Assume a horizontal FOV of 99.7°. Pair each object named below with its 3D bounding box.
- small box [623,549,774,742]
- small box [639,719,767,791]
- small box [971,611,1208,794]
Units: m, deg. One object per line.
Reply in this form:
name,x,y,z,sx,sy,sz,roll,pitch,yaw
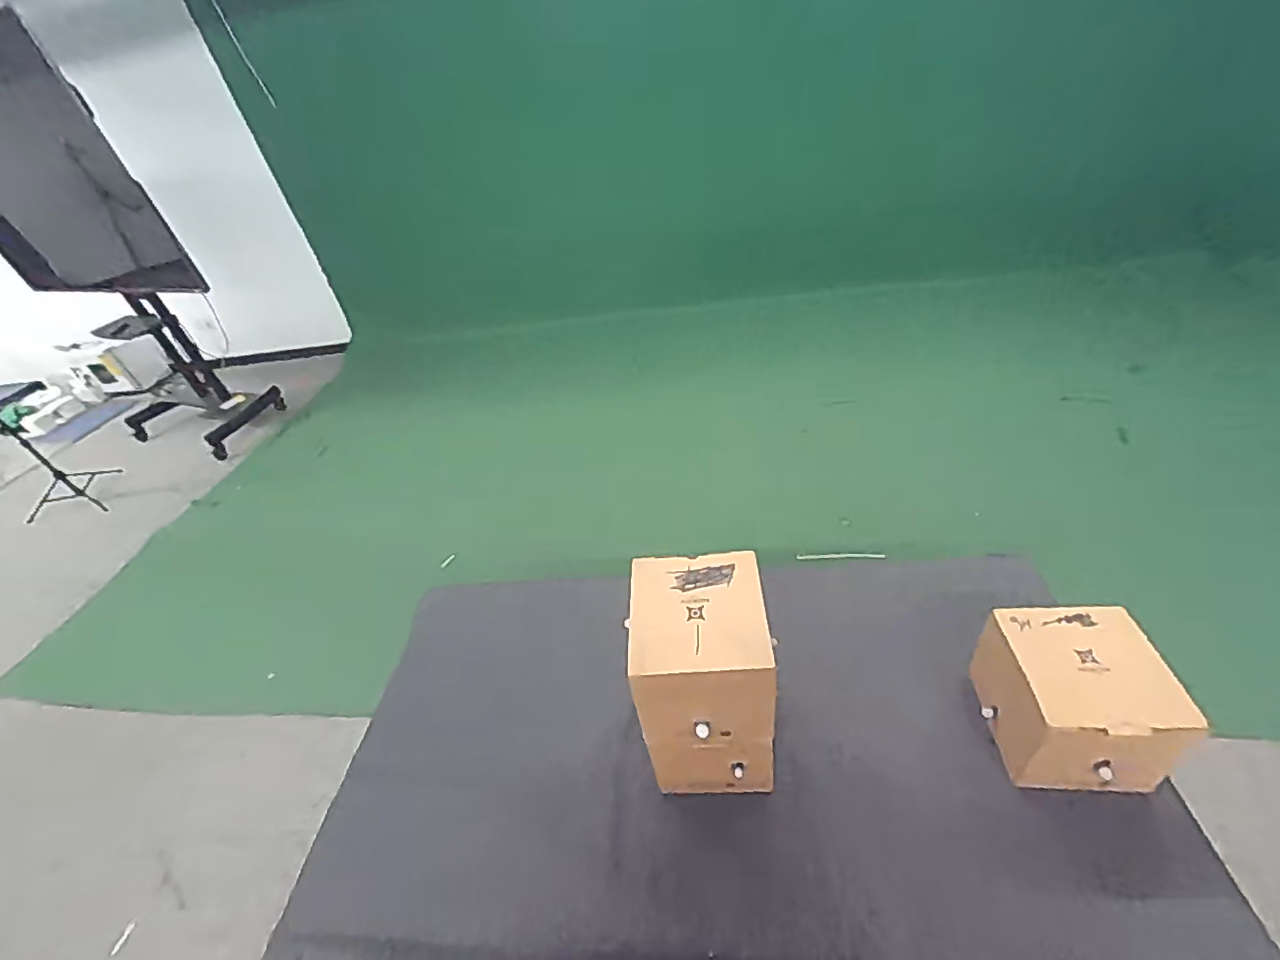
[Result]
small box,0.074,0.211,0.694,0.168,0.176,0.179,-5,39,6
small box,0.095,0.337,0.797,0.168,0.176,0.179,-4,37,7
small box,0.575,0.297,0.726,0.168,0.176,0.179,-3,39,11
